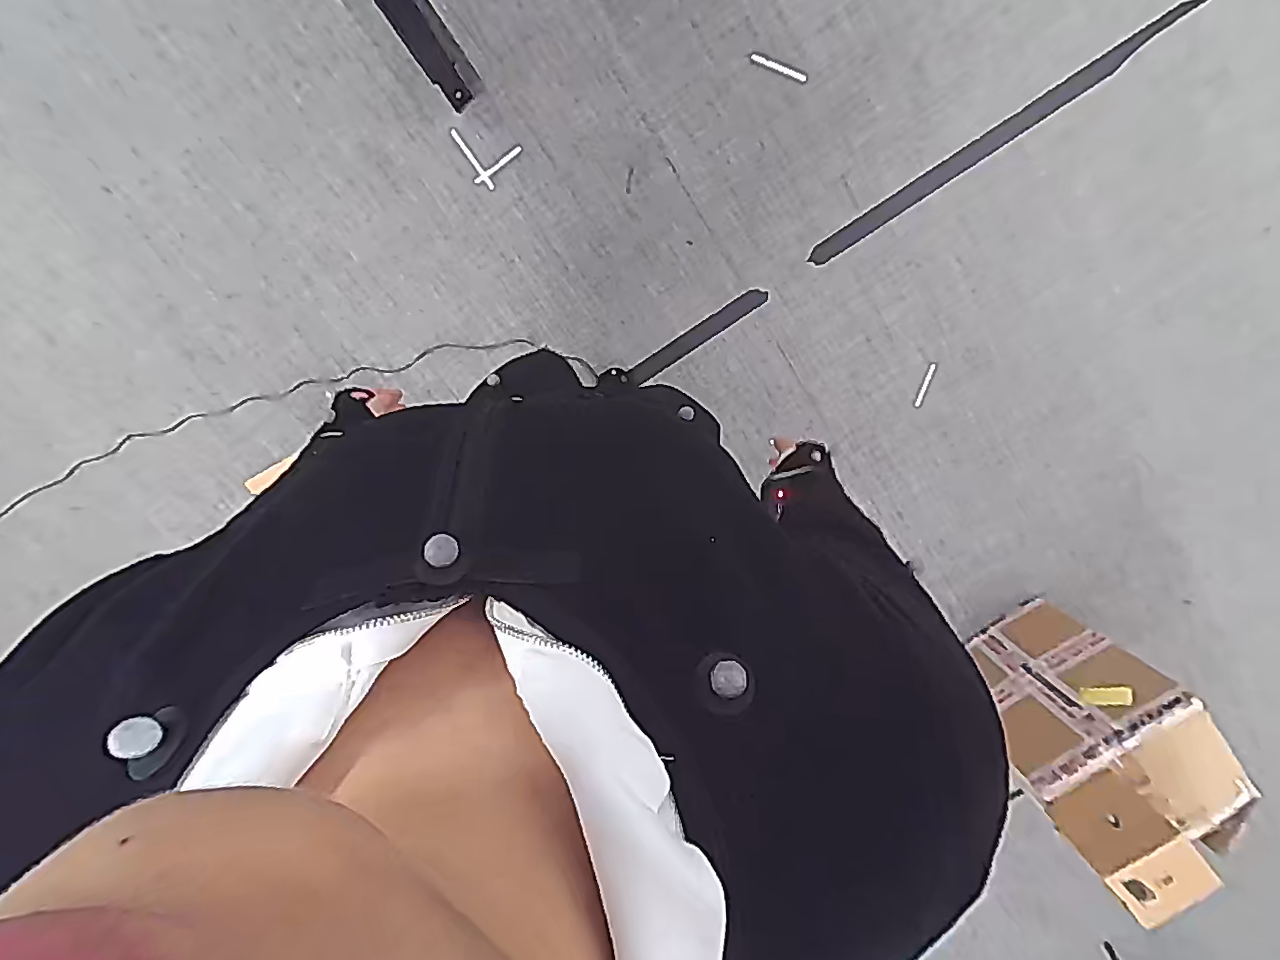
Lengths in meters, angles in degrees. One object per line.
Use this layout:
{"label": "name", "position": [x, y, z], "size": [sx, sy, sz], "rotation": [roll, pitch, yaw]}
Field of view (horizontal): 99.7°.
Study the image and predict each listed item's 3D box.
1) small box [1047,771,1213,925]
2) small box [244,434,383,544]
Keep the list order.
{"label": "small box", "position": [1.015, 0.768, 1.143], "size": [0.179, 0.176, 0.168], "rotation": [-40, 99, 8]}
{"label": "small box", "position": [-0.729, 0.014, 1.231], "size": [0.179, 0.176, 0.168], "rotation": [-29, 104, 4]}
